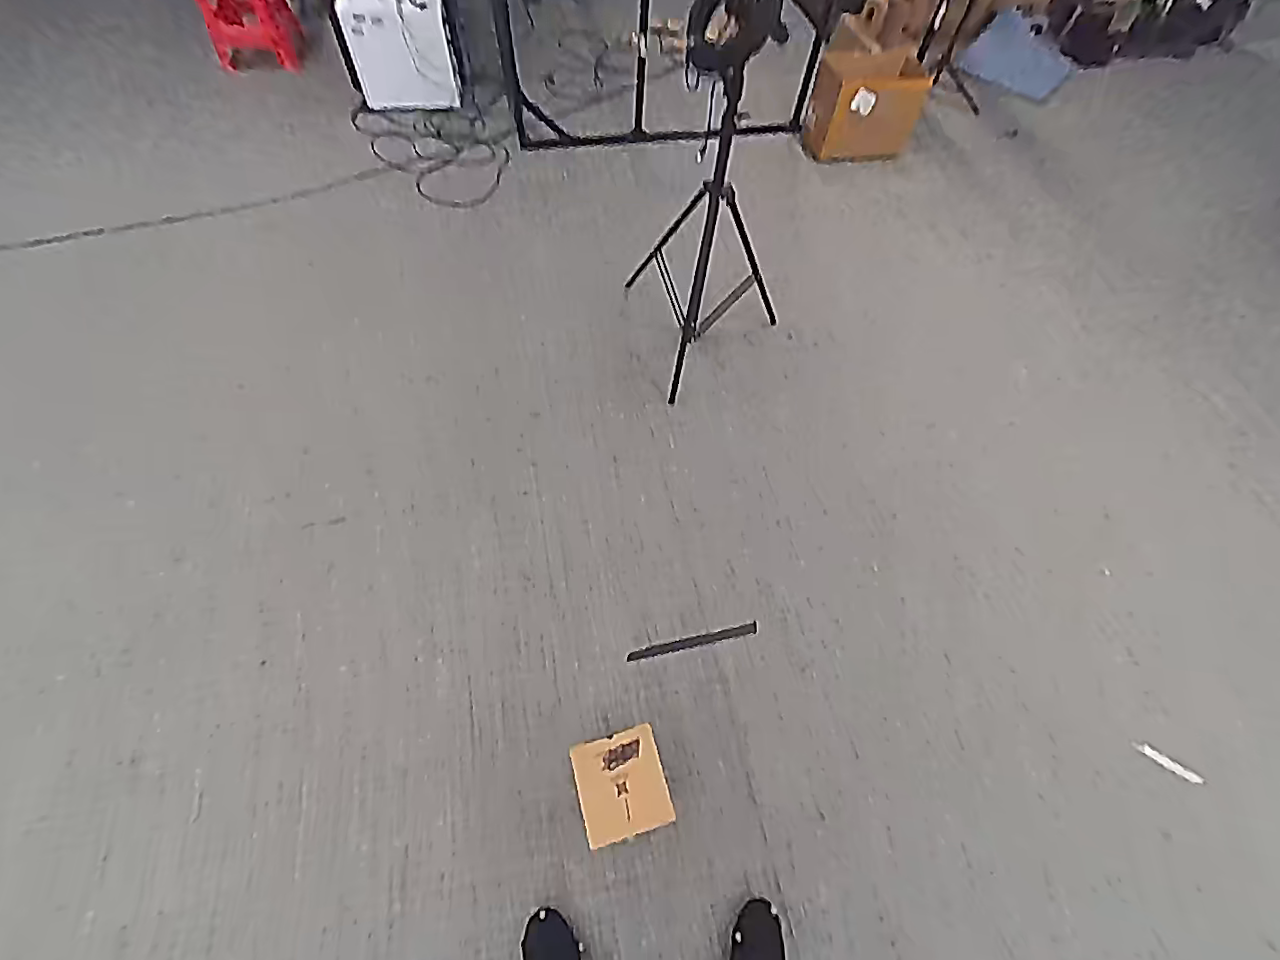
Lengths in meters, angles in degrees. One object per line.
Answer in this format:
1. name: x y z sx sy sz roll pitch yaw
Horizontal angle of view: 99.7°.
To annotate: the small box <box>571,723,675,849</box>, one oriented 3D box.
1. small box: -0.039 0.612 1.089 0.168 0.176 0.179 -13 62 -10
